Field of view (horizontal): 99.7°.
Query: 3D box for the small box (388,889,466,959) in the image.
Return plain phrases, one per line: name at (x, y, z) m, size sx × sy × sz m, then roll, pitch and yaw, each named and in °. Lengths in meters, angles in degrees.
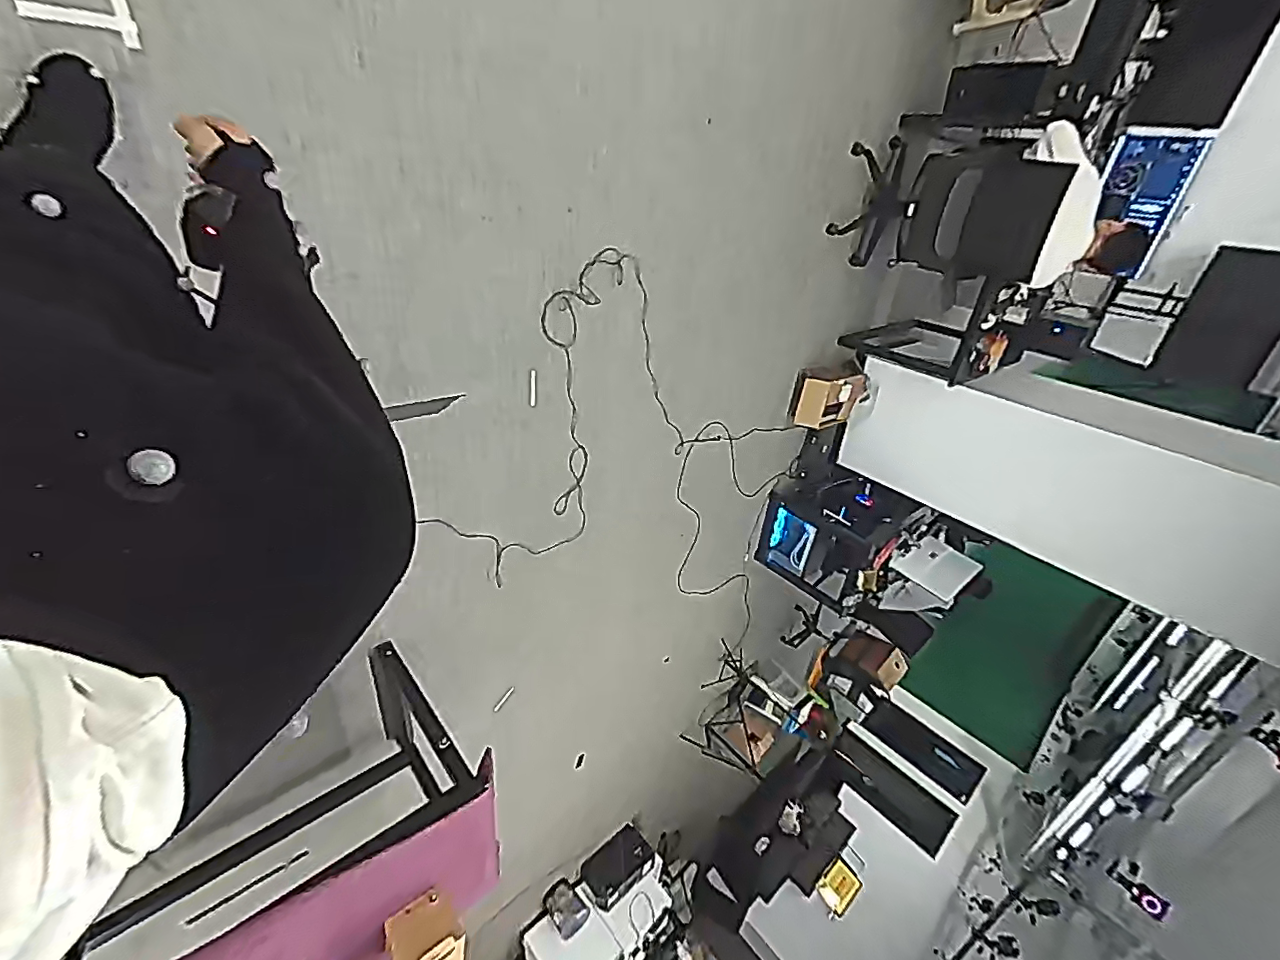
small box at (-0.629, 1.360, 1.588) m, size 0.168 × 0.176 × 0.179 m, roll -13°, pitch 125°, yaw -42°
